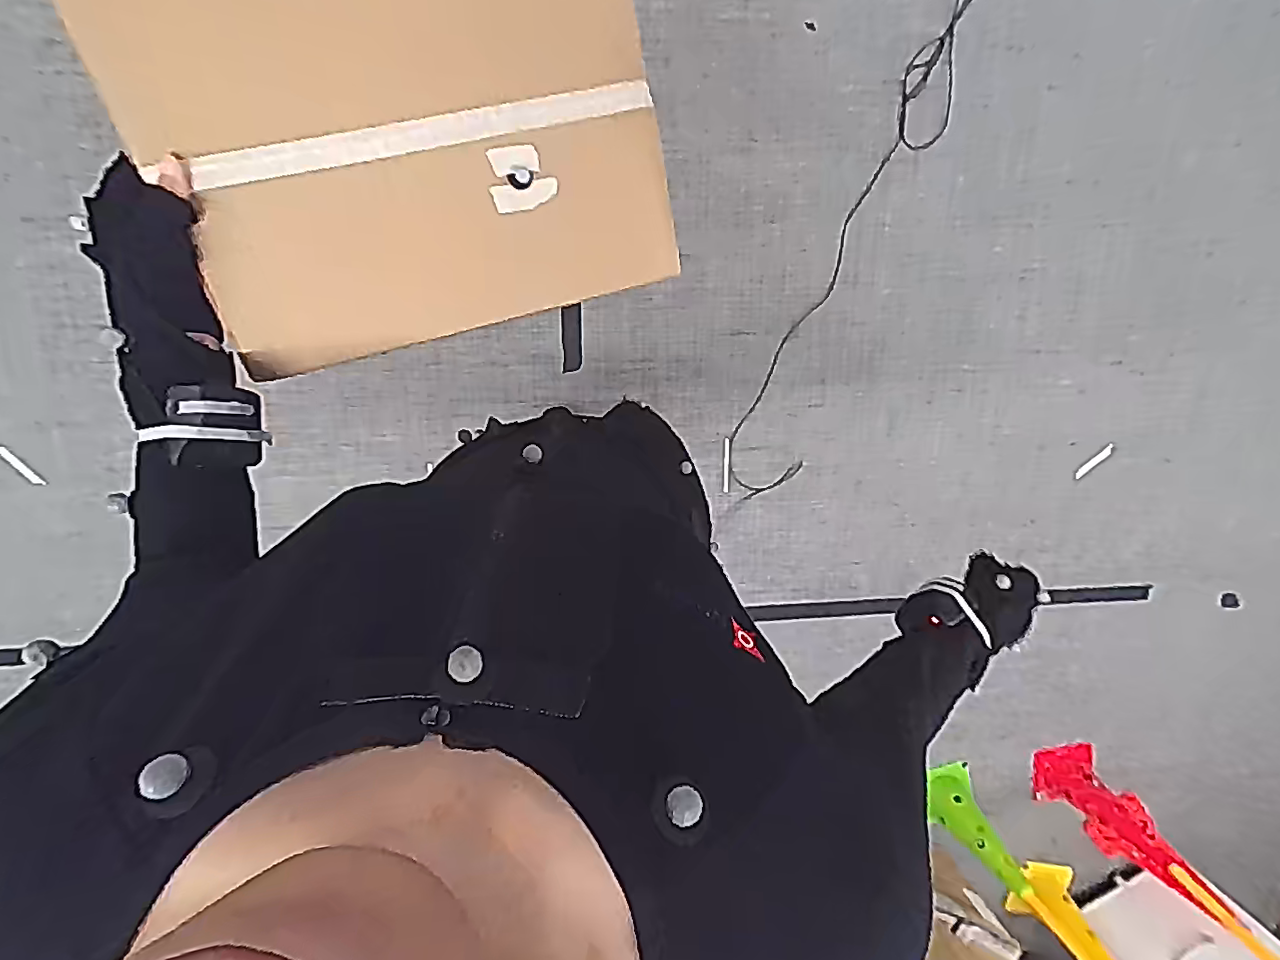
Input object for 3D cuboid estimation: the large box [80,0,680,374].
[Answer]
[{"bbox_3d":[-0.222,-0.336,0.583,0.408,0.320,0.320,-19,115,-14],"label":"large box"}]
